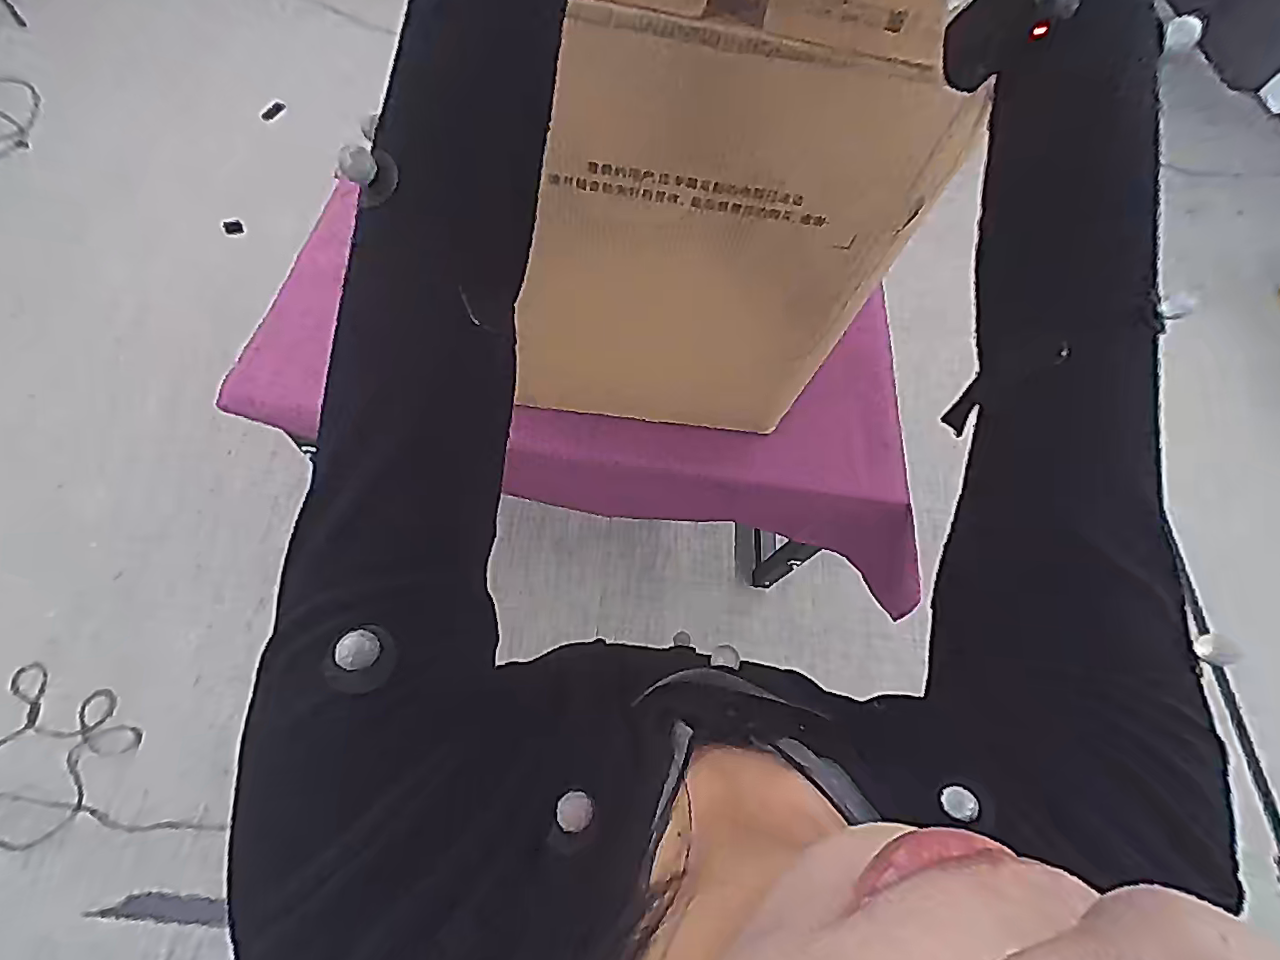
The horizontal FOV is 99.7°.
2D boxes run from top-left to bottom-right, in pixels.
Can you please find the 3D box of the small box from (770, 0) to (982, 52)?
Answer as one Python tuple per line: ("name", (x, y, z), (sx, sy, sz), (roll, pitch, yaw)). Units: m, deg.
("small box", (0.202, -0.471, 0.410), (0.168, 0.176, 0.179), (10, 62, -4))
